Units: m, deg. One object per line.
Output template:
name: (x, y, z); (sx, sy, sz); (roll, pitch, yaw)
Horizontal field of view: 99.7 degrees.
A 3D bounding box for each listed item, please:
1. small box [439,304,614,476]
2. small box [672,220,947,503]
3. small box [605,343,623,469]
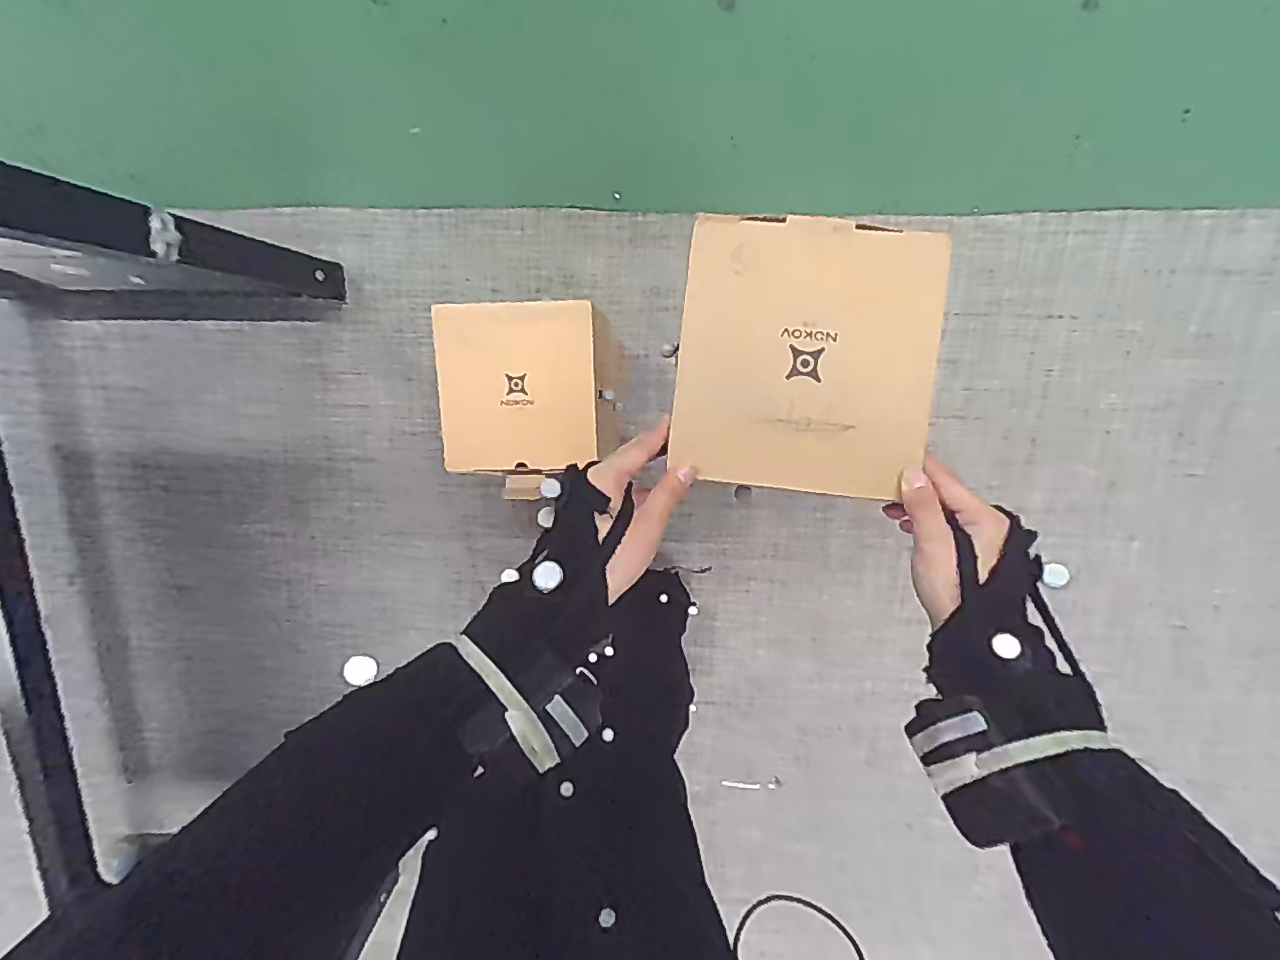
small box: (-0.120, -0.104, 0.638); (0.168, 0.176, 0.179); (-1, 101, 3)
small box: (0.116, -0.080, 0.437); (0.168, 0.176, 0.179); (6, 92, 4)
small box: (-0.115, -0.117, 0.803); (0.168, 0.176, 0.179); (1, 101, 3)
